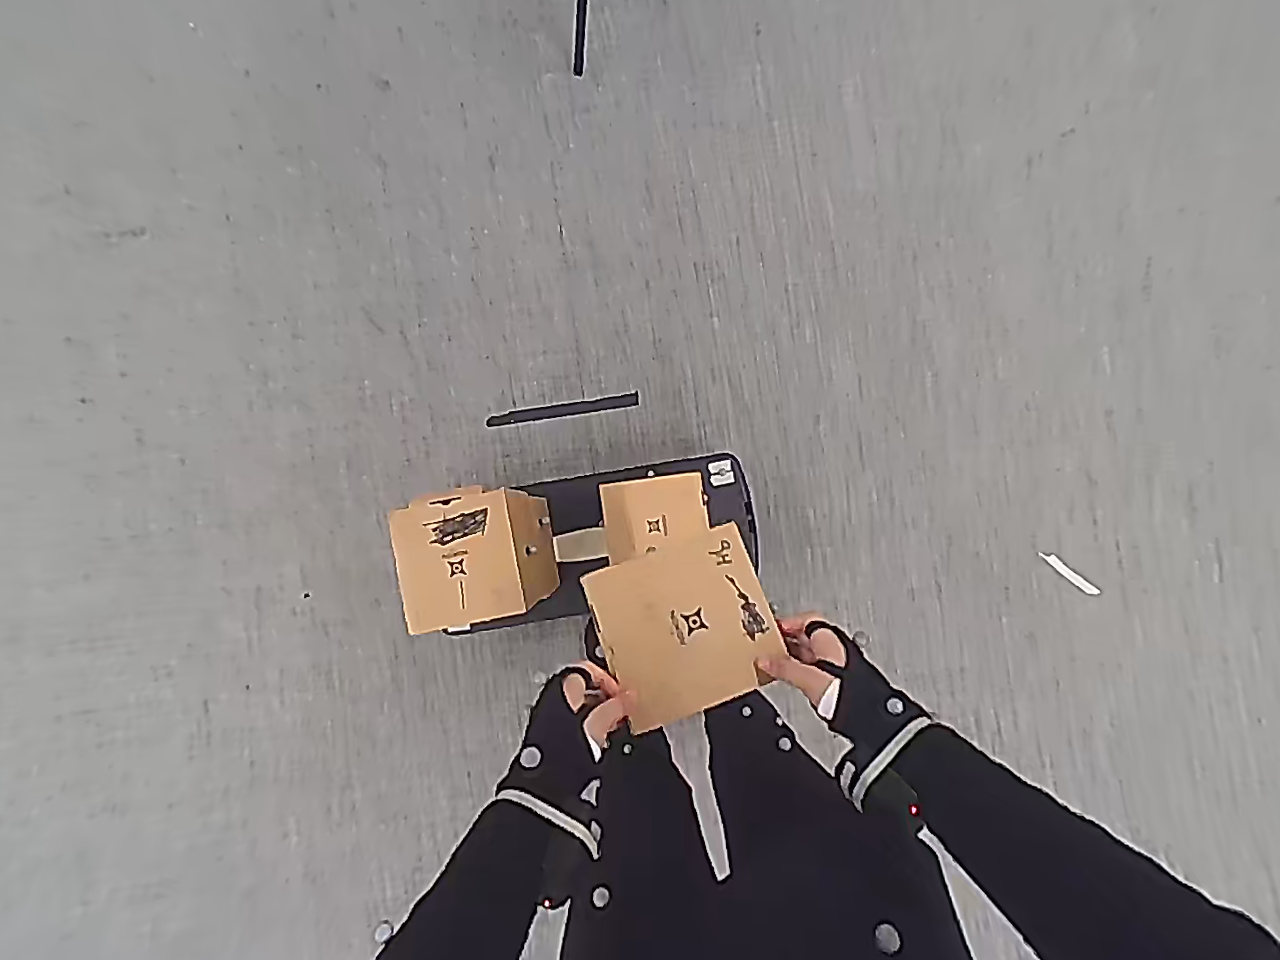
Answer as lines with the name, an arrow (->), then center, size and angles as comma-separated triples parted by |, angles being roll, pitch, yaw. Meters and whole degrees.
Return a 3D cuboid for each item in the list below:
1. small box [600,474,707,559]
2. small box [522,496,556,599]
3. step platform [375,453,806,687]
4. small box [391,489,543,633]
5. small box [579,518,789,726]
small box -> 0.027, 0.081, 0.994 | 0.179, 0.176, 0.168 | -8, 87, 1
small box -> -0.251, 0.128, 0.984 | 0.168, 0.176, 0.179 | -9, 87, -1
step platform -> -0.080, 0.148, 0.951 | 0.684, 0.204, 0.286 | -9, 87, -2
small box -> -0.251, 0.115, 0.820 | 0.168, 0.176, 0.179 | -11, 88, -1
small box -> 0.044, 0.160, 0.627 | 0.179, 0.176, 0.168 | -19, 77, -4
